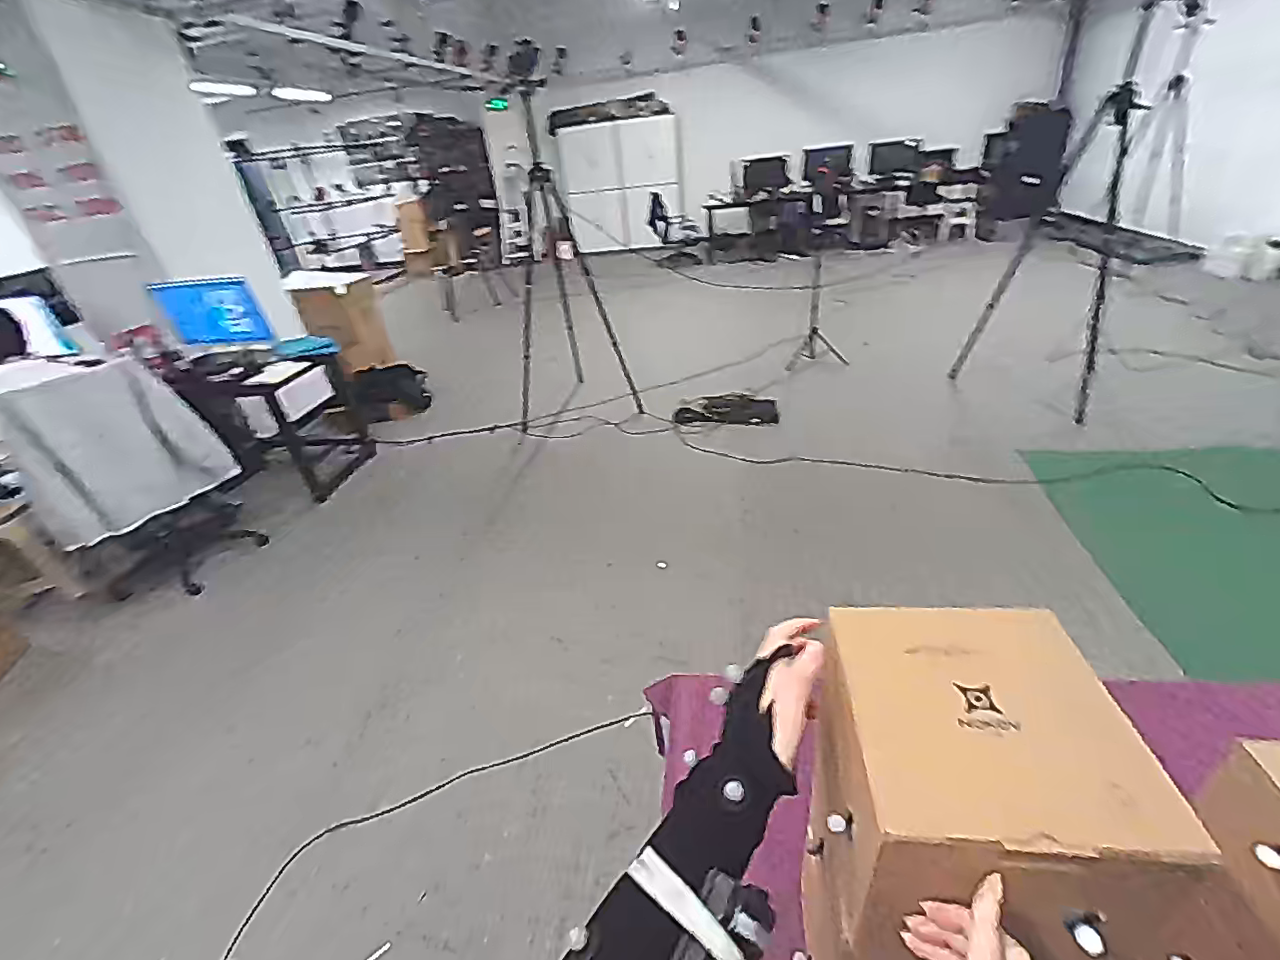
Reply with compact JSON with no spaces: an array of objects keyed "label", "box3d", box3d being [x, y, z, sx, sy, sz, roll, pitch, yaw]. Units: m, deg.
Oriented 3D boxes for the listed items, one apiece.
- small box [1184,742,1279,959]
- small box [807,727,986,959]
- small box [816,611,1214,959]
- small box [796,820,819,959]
[{"label":"small box","box3d":[0.591,0.346,0.432,0.168,0.176,0.179,0,33,12]},{"label":"small box","box3d":[0.246,0.354,0.486,0.168,0.176,0.179,0,32,11]},{"label":"small box","box3d":[0.230,0.219,0.396,0.168,0.176,0.179,-1,32,8]},{"label":"small box","box3d":[0.258,0.497,0.568,0.168,0.176,0.179,0,34,10]}]
